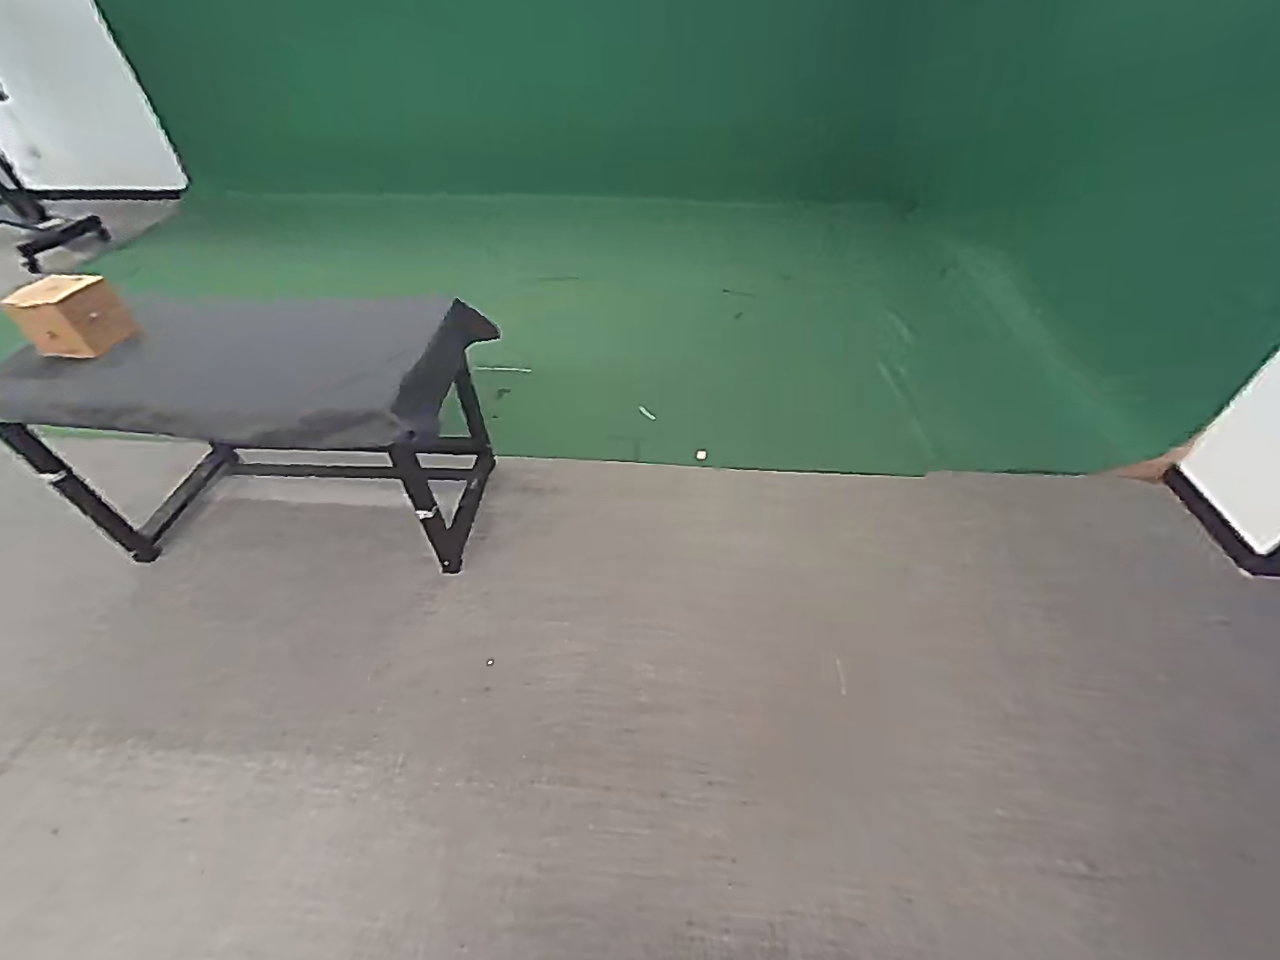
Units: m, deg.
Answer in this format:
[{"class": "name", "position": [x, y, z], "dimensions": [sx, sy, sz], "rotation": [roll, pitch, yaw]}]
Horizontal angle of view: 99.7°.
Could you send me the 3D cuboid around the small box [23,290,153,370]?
[{"class": "small box", "position": [-1.613, -0.442, 1.597], "dimensions": [0.168, 0.176, 0.179], "rotation": [4, 45, 4]}]
